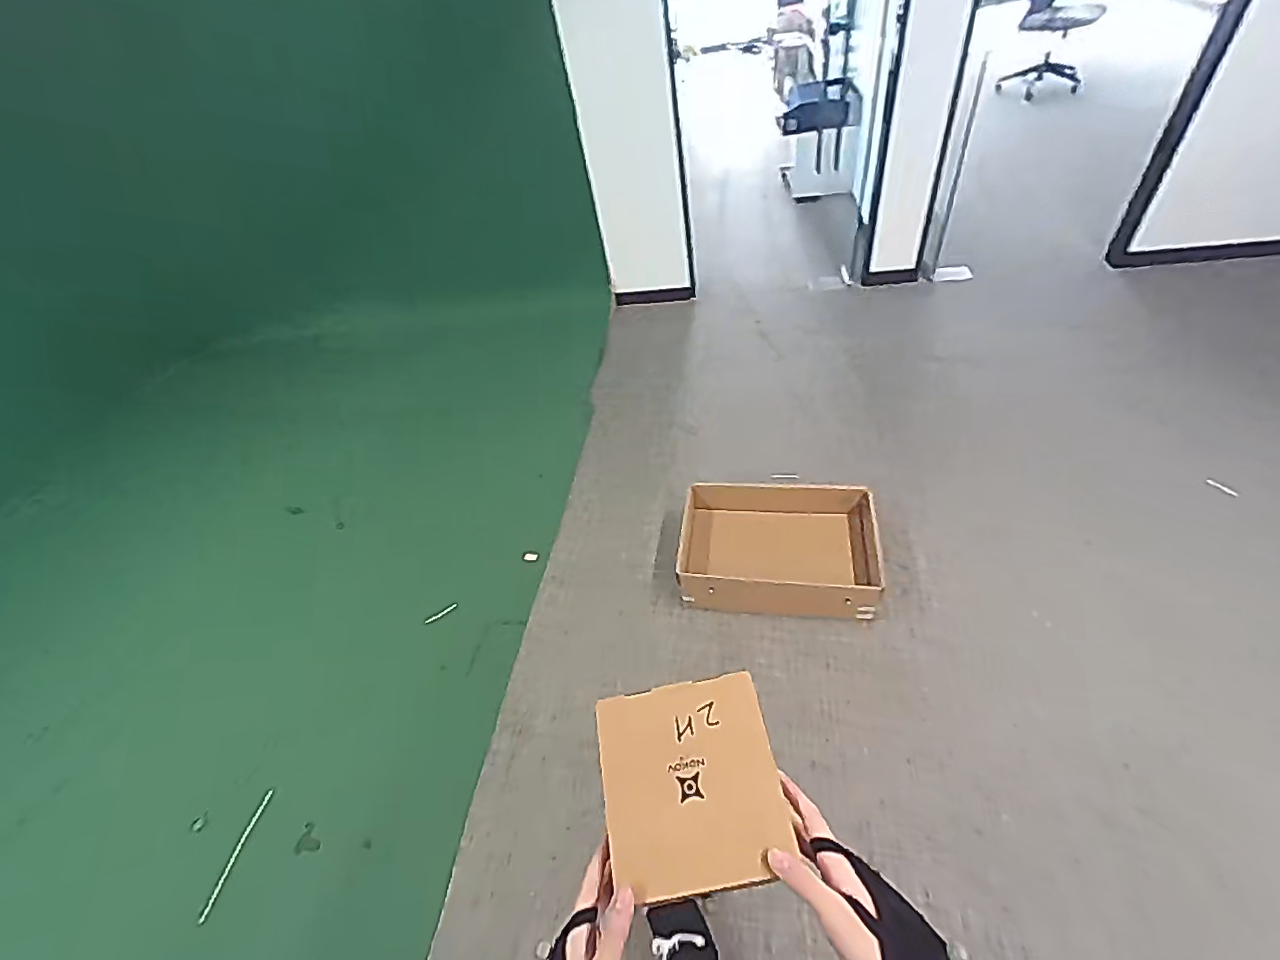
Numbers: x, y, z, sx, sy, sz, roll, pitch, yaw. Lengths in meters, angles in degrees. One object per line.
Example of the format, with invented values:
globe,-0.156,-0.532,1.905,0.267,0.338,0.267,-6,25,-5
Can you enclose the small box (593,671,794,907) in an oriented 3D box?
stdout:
small box,0.052,0.326,0.568,0.168,0.176,0.179,-10,51,0
